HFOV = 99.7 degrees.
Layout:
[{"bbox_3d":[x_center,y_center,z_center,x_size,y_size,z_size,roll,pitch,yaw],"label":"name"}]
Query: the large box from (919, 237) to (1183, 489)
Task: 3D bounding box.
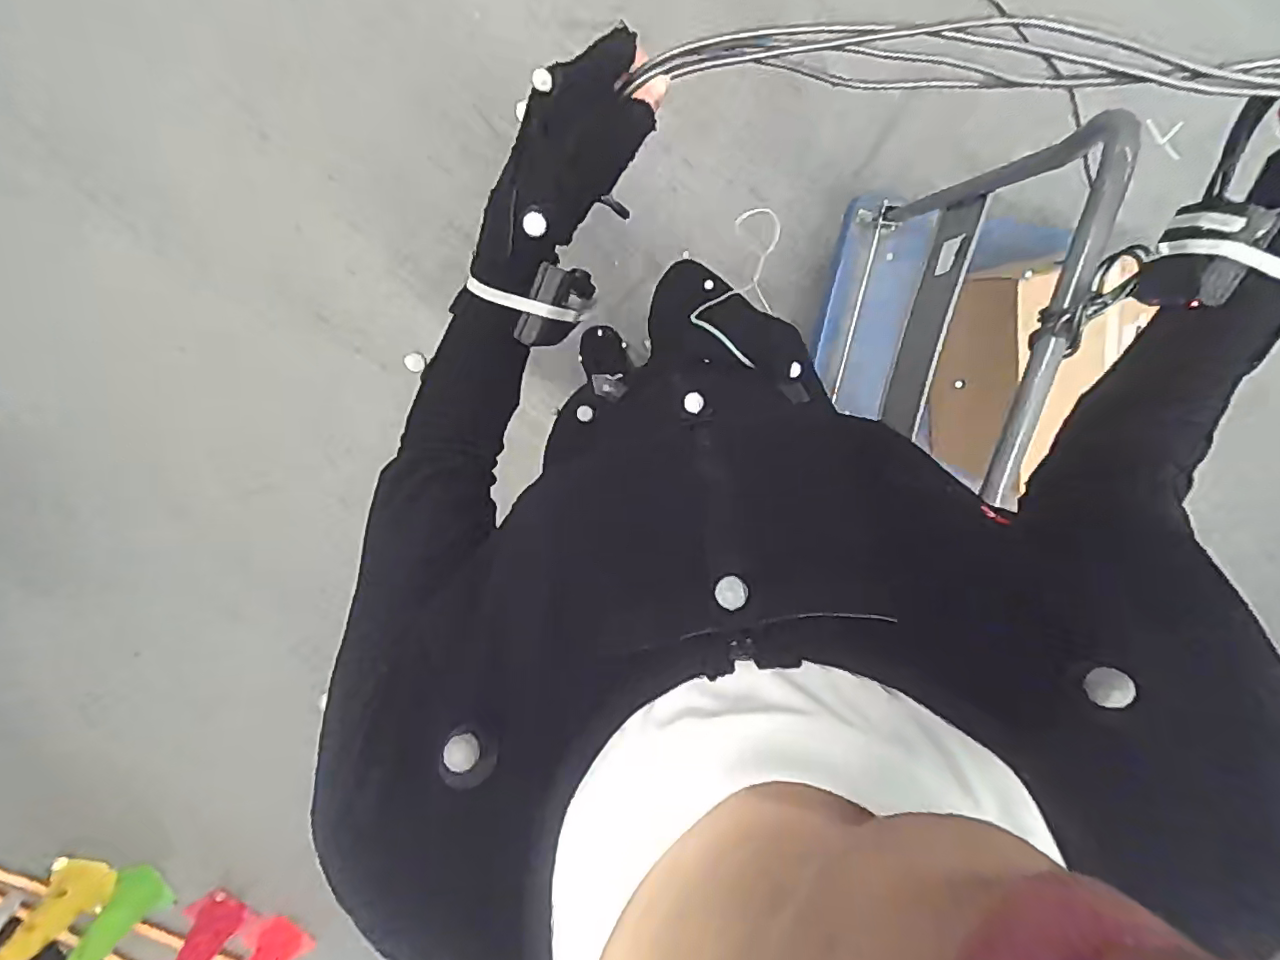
[{"bbox_3d":[0.823,-0.240,1.127,0.320,0.320,0.408,-13,107,1],"label":"large box"}]
